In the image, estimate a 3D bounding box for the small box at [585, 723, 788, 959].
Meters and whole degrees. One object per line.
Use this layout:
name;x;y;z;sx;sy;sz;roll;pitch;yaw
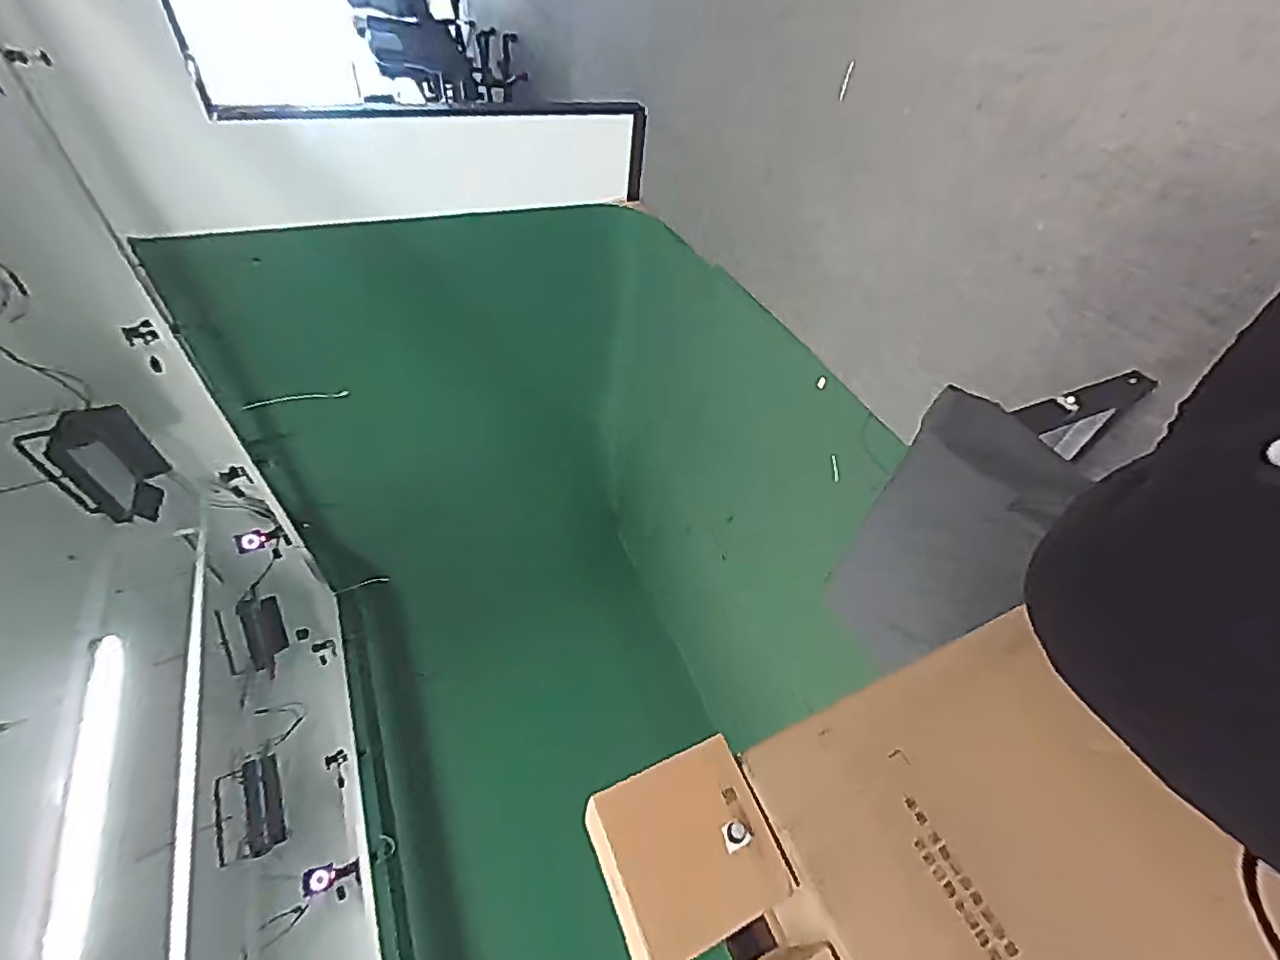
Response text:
small box;0.046;0.419;0.637;0.168;0.176;0.179;59;153;33
